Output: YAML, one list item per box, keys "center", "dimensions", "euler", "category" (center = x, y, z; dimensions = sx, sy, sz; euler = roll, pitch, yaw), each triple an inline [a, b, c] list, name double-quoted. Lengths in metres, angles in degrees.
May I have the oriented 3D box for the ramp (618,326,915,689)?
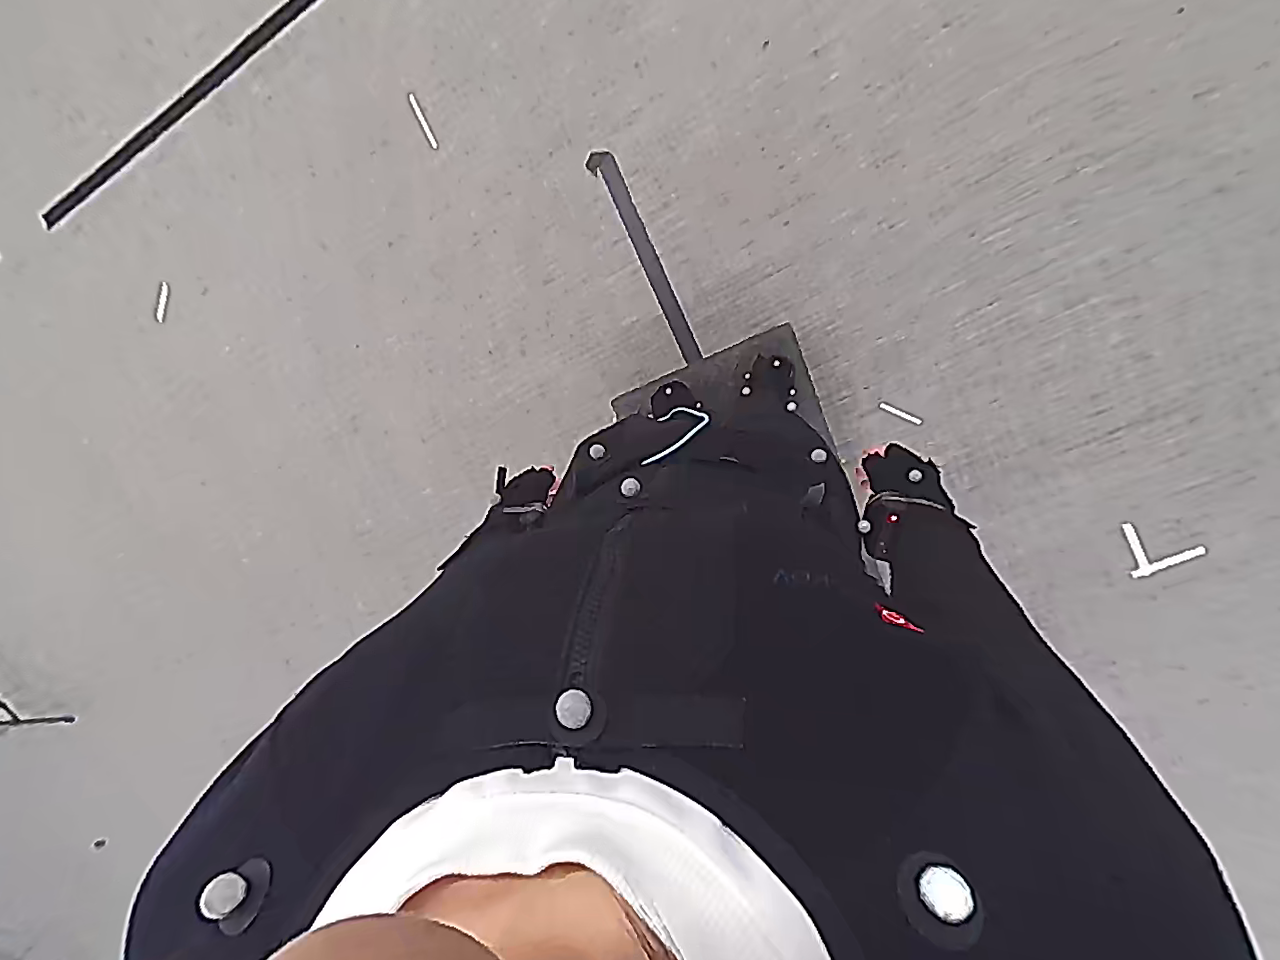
- center: [0.375, 0.137, 1.503]
  dimensions: [0.509, 0.206, 0.991]
  euler: [-25, 96, 13]
  category: "ramp"
